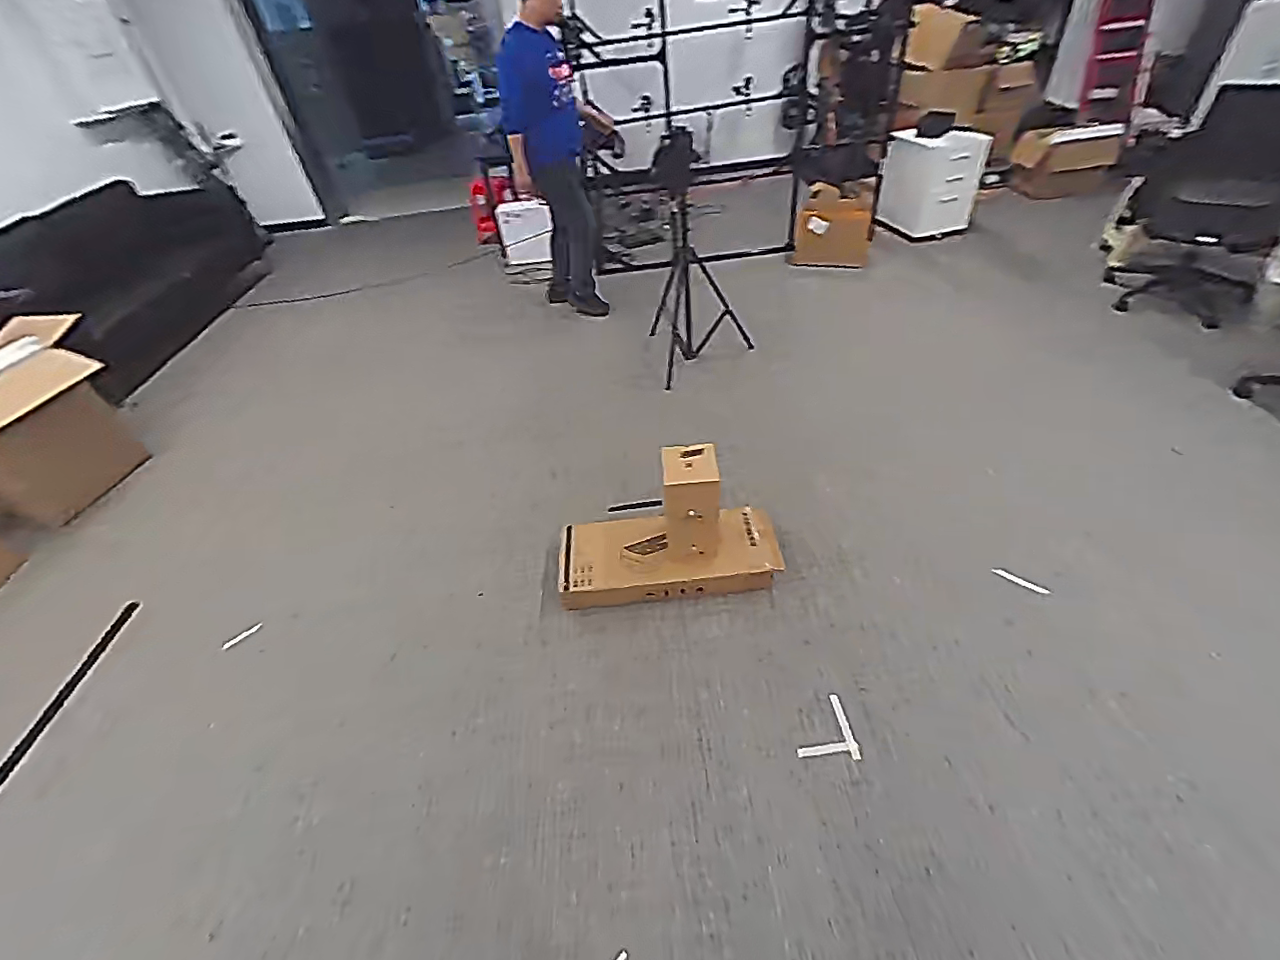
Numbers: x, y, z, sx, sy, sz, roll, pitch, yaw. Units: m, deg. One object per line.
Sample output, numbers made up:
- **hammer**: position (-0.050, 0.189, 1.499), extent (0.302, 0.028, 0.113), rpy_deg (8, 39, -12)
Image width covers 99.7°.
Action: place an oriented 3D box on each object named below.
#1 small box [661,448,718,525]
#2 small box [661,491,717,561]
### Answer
- **small box**: position (0.153, 0.020, 1.702), extent (0.168, 0.176, 0.179), rpy_deg (-5, 41, 3)
- **small box**: position (0.161, 0.145, 1.808), extent (0.168, 0.176, 0.179), rpy_deg (-8, 41, 1)
